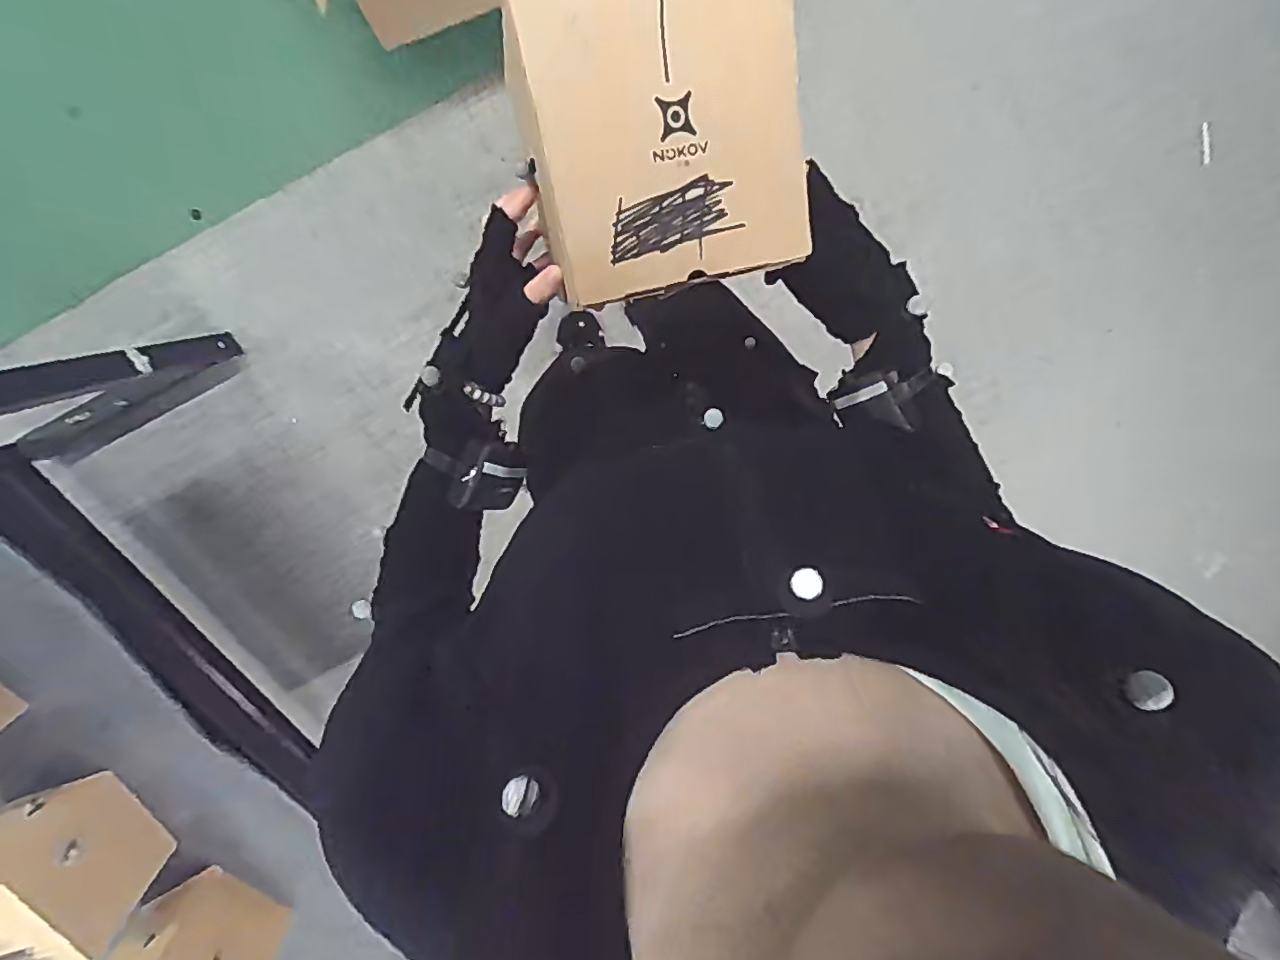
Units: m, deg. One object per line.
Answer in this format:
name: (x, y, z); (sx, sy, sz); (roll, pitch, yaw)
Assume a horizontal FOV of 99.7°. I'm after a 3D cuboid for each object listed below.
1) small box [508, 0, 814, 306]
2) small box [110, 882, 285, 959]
small box: (0.008, -0.236, 0.399); (0.168, 0.176, 0.179); (-15, 111, -7)
small box: (-0.713, 0.775, 0.841); (0.168, 0.176, 0.179); (-32, 111, 5)
